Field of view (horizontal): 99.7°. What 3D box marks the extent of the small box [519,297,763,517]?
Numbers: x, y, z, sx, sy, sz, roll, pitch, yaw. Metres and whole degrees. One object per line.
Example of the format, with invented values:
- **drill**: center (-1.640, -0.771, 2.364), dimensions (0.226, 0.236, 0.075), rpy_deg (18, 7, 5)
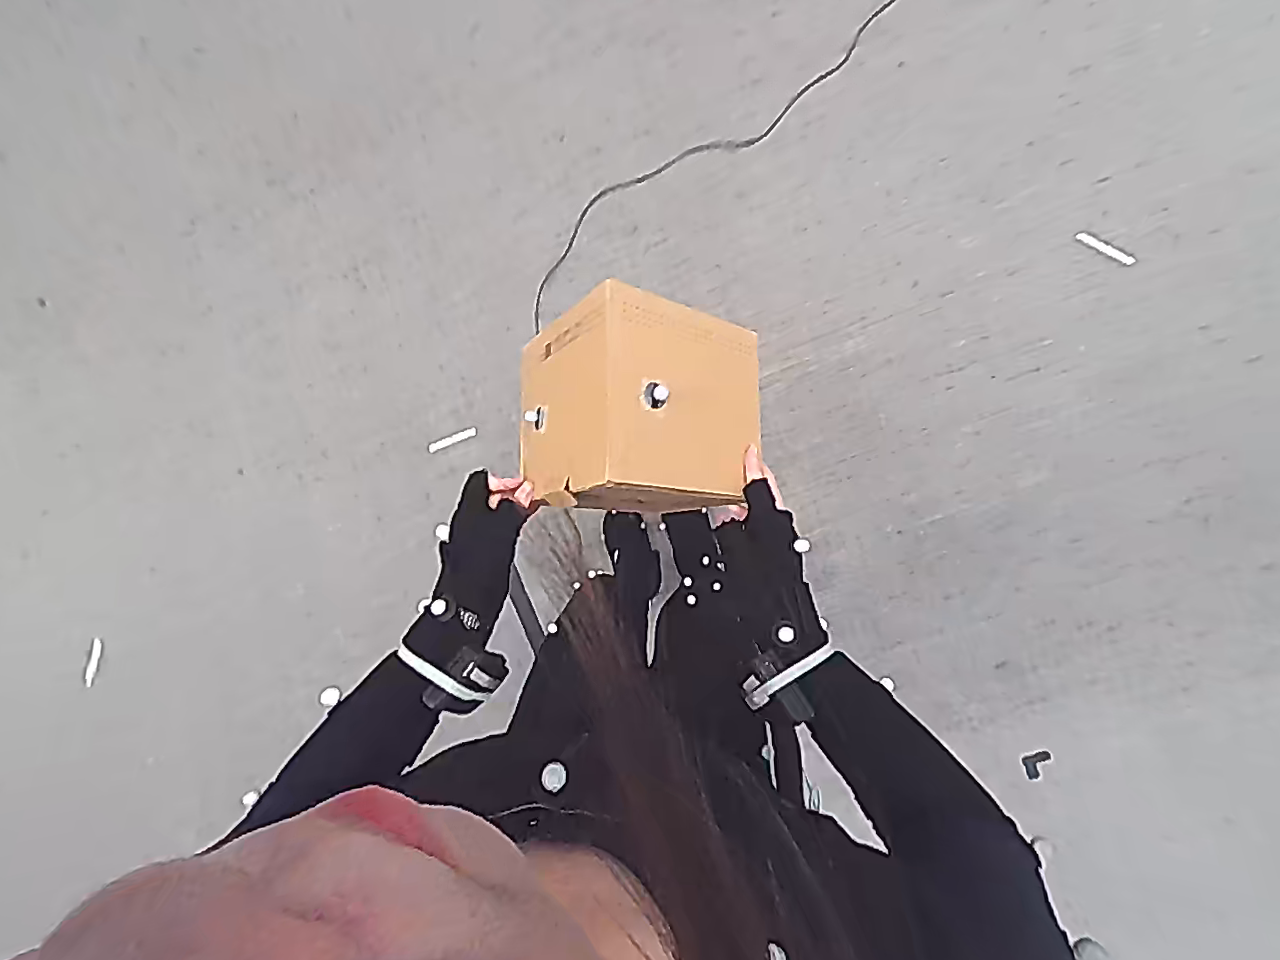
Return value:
- **small box**: center (-0.003, -0.057, 0.523), dimensions (0.179, 0.168, 0.176), rpy_deg (5, 81, -36)
